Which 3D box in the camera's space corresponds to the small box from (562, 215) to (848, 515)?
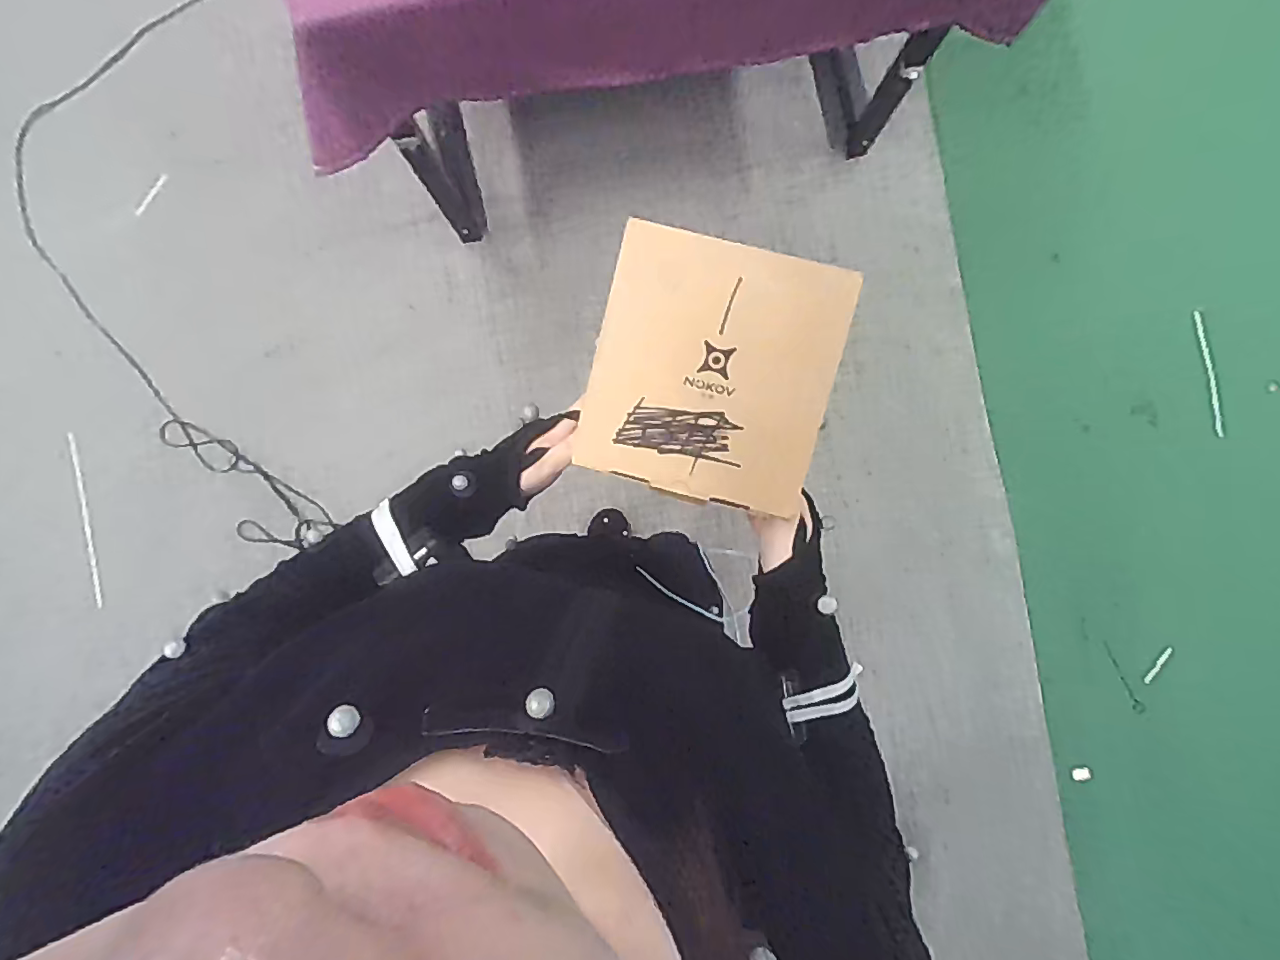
[{"bbox_3d":[0.048,-0.086,0.454,0.168,0.176,0.179,14,97,2],"label":"small box"}]
